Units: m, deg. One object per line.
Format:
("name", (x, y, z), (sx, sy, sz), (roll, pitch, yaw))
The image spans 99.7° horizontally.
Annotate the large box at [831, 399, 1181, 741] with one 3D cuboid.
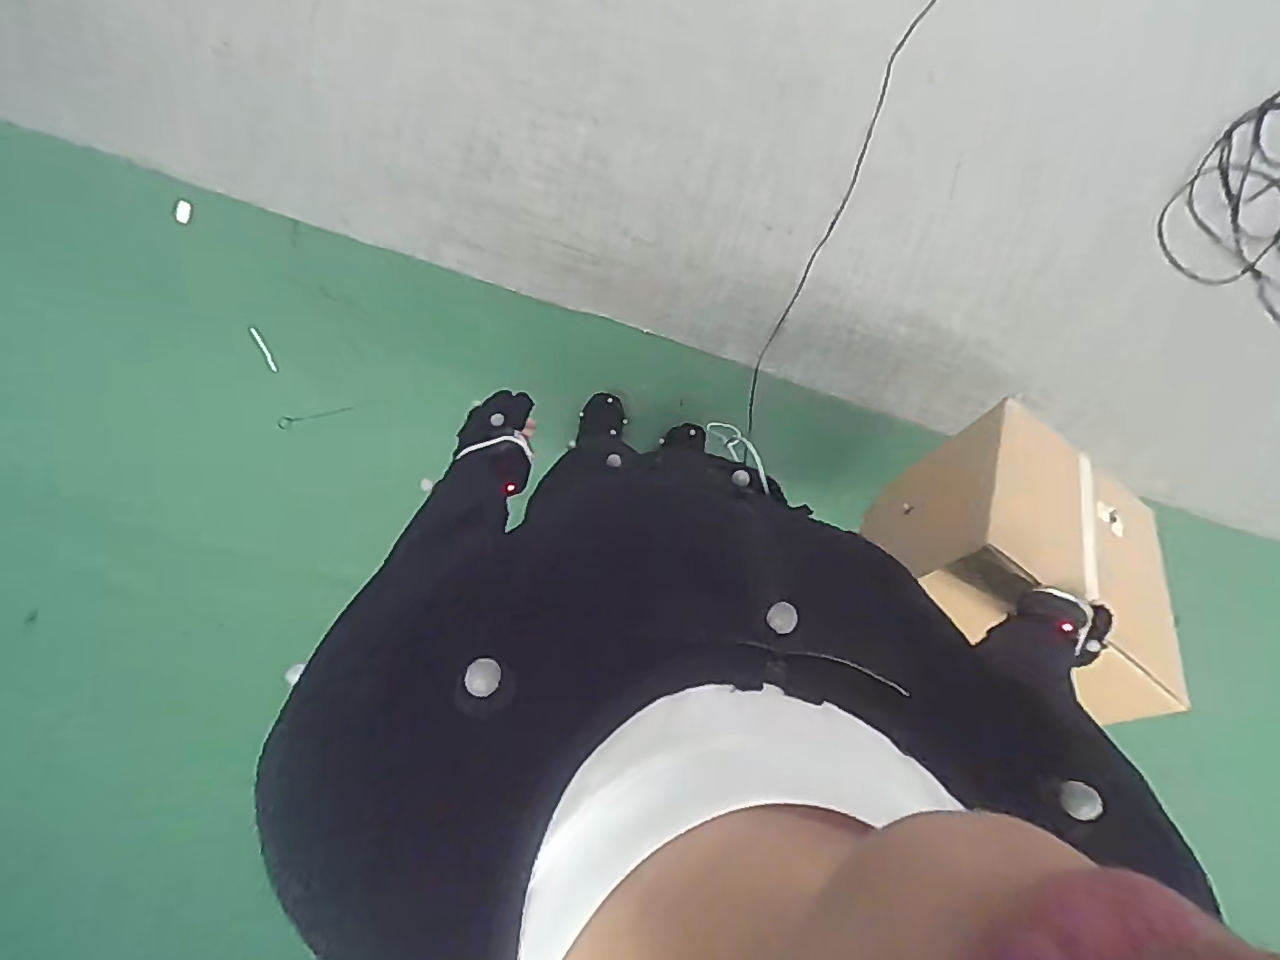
("large box", (0.578, 0.145, 0.906), (0.320, 0.408, 0.320), (40, 138, 2))
